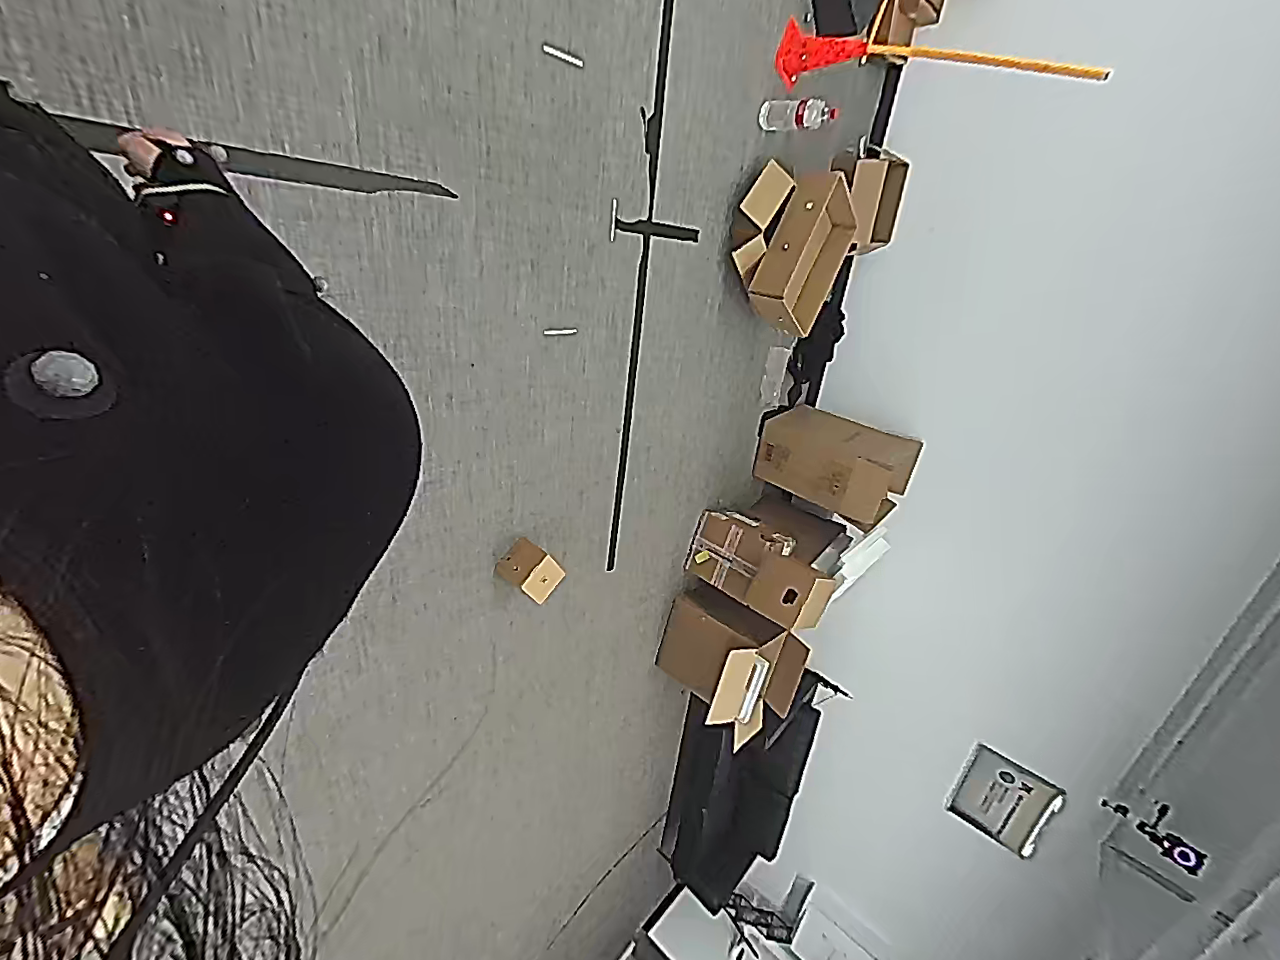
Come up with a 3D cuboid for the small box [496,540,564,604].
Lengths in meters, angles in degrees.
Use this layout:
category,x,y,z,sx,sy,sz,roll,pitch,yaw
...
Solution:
category,x,y,z,sx,sy,sz,roll,pitch,yaw
small box,-0.445,0.365,2.177,0.168,0.176,0.179,-51,144,-18
